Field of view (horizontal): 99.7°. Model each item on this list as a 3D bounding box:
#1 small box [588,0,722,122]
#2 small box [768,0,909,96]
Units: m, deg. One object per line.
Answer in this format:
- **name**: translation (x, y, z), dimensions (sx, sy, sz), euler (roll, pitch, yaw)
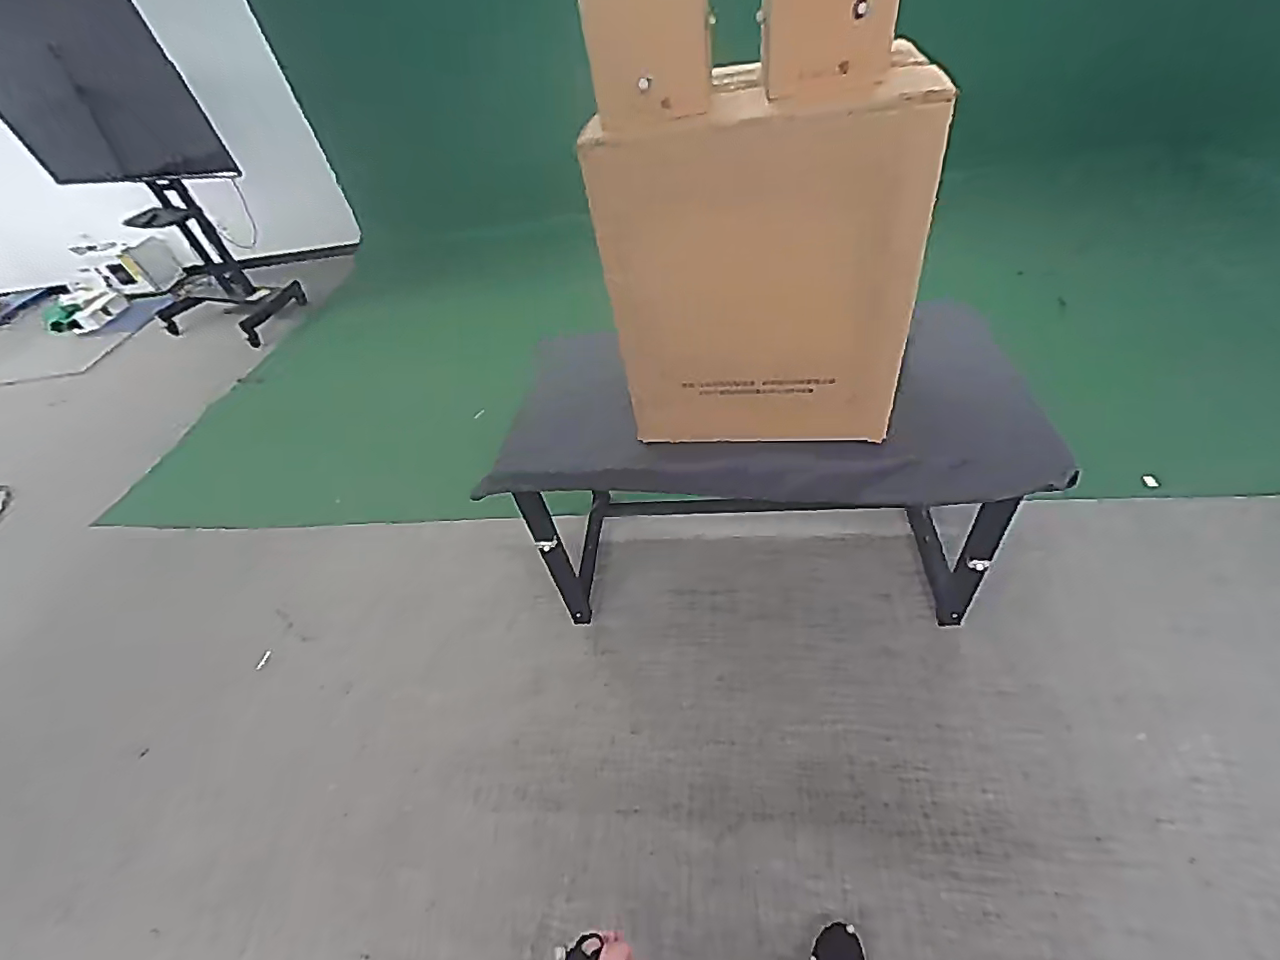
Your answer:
- **small box**: translation (0.031, -0.655, 0.801), dimensions (0.168, 0.176, 0.179), euler (1, 49, 14)
- **small box**: translation (0.275, -0.664, 0.767), dimensions (0.168, 0.176, 0.179), euler (-1, 47, 7)
